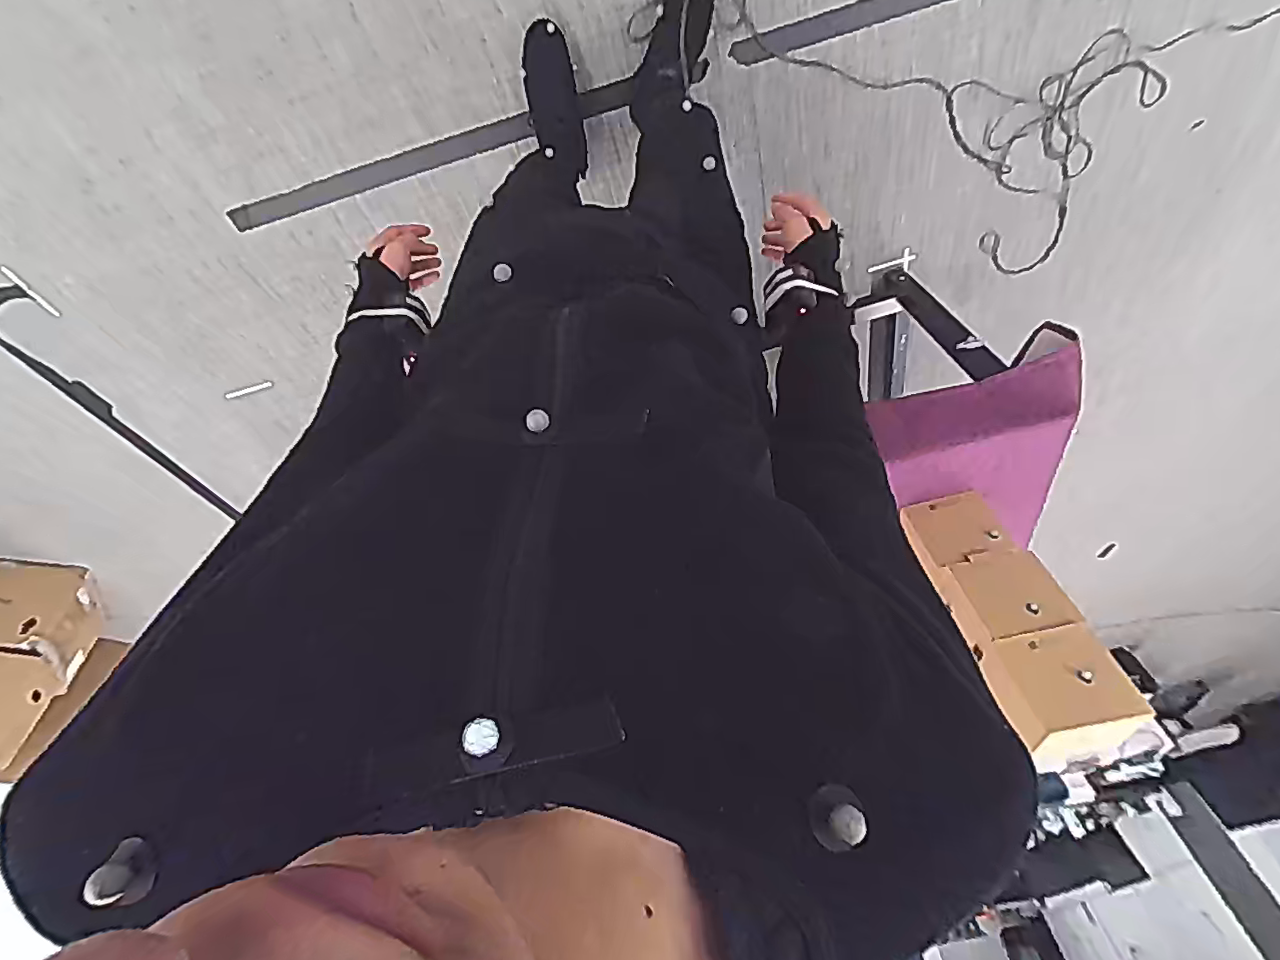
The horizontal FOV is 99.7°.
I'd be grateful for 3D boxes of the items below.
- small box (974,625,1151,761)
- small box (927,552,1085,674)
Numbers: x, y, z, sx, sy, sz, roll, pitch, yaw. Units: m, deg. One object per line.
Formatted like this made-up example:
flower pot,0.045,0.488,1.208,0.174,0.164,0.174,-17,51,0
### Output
small box,0.738,0.376,0.972,0.168,0.176,0.179,-15,136,5
small box,0.720,0.263,1.089,0.179,0.176,0.168,-10,135,1
